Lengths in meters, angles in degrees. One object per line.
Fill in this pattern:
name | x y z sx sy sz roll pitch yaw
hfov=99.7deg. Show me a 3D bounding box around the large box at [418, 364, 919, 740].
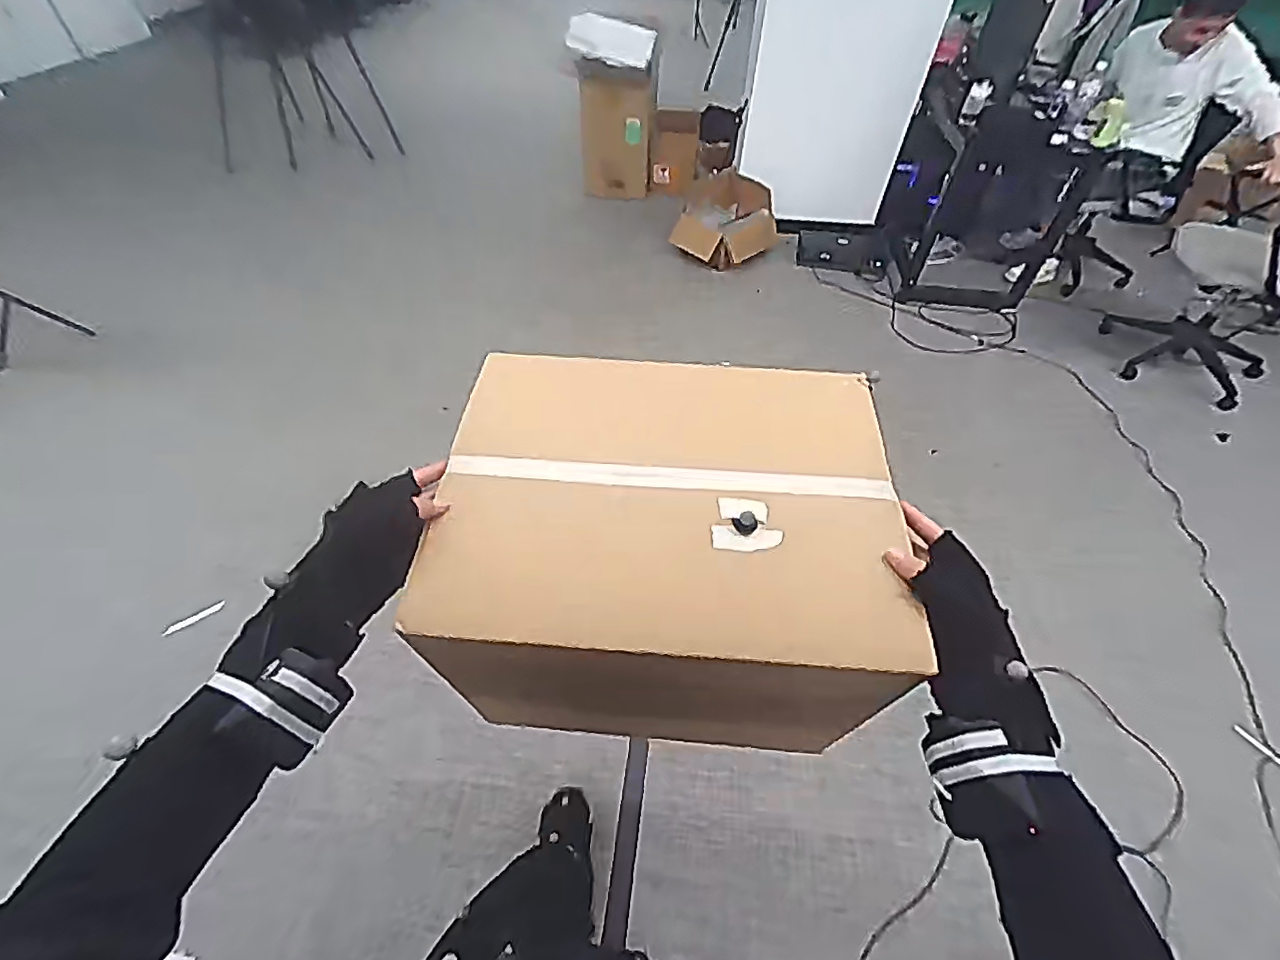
large box | 0.026 0.093 0.627 0.408 0.320 0.320 4 54 2
